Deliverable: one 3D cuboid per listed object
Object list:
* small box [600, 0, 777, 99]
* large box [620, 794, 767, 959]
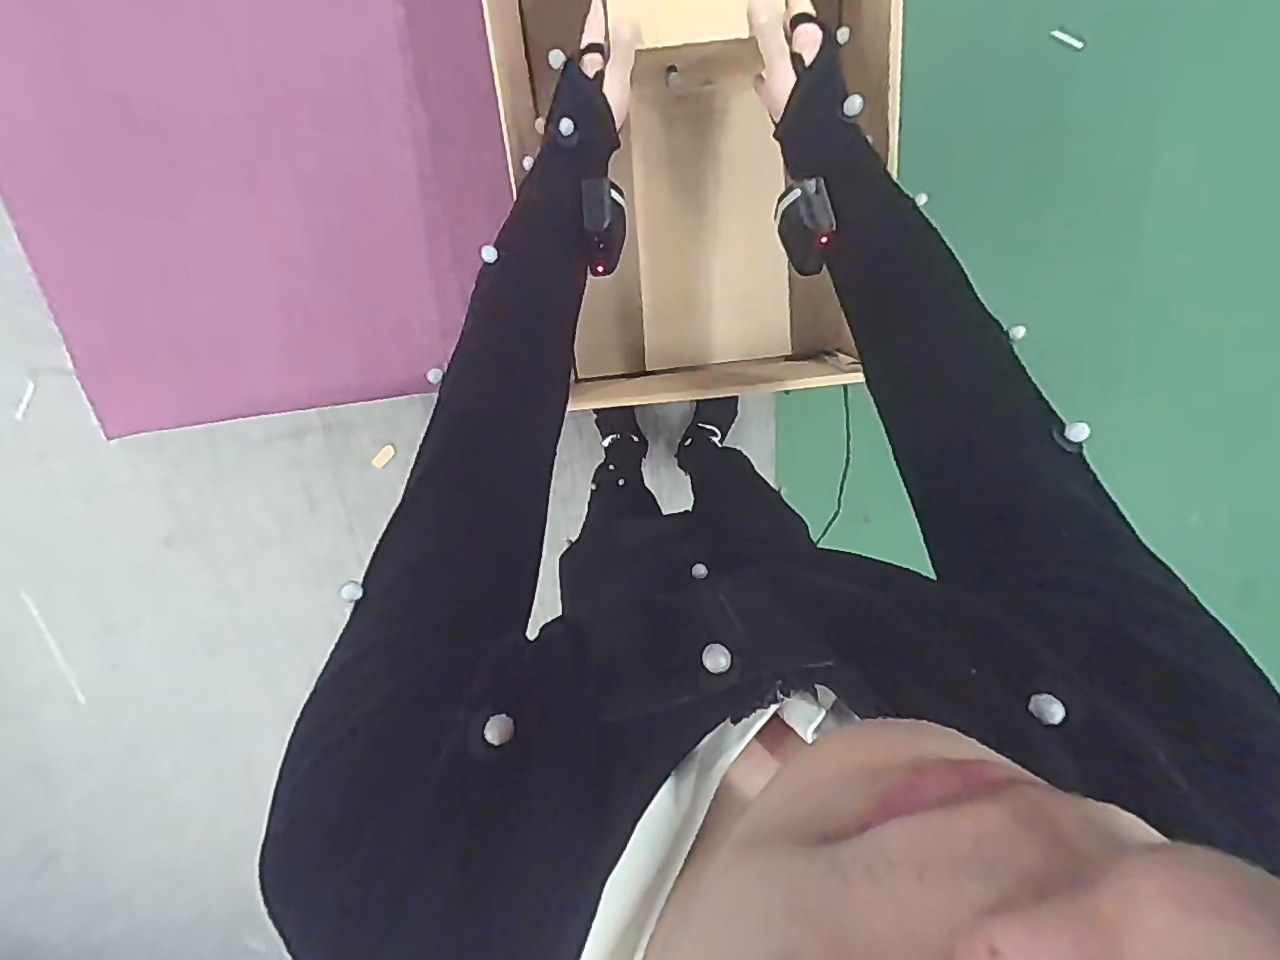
[{"bbox_3d":[0.047,-0.514,0.554,0.168,0.176,0.179,-3,111,4],"label":"small box"},{"bbox_3d":[0.177,1.433,1.932,0.408,0.320,0.320,-37,105,11],"label":"large box"}]
